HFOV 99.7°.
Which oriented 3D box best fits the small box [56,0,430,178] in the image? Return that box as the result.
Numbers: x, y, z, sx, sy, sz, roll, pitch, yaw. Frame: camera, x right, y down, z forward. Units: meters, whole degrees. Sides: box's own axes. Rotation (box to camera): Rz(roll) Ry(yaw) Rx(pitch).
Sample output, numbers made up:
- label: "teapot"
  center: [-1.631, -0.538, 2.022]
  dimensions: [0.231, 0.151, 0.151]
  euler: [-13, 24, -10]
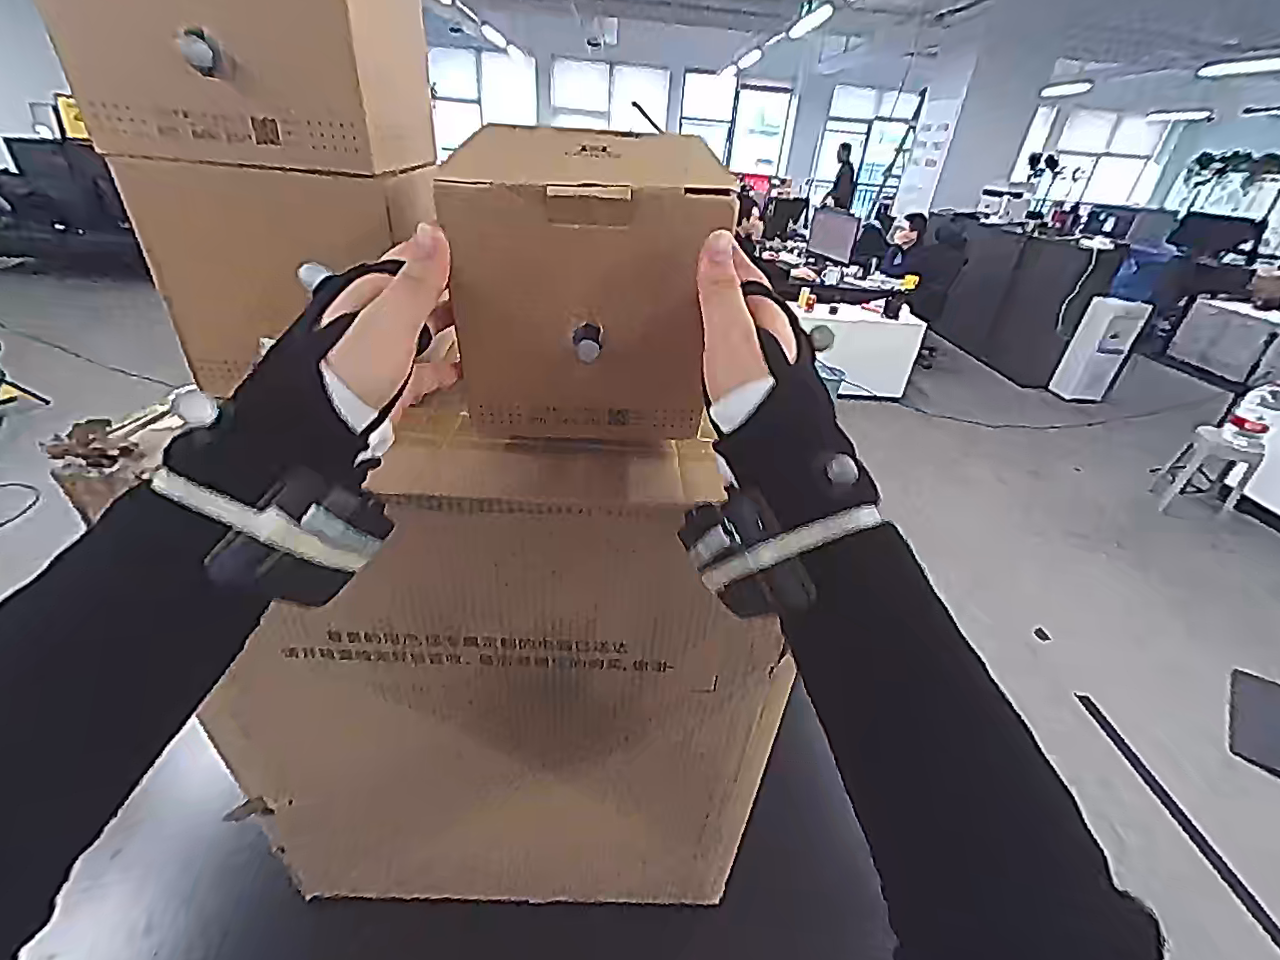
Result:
- label: "small box"
  center: [-0.251, -0.311, 0.366]
  dimensions: [0.168, 0.176, 0.179]
  euler: [1, 33, -6]

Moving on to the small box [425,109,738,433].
- label: "small box"
  center: [-0.035, -0.148, 0.390]
  dimensions: [0.168, 0.176, 0.179]
  euler: [1, 44, -4]

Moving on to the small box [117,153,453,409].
- label: "small box"
  center: [-0.261, -0.174, 0.457]
  dimensions: [0.168, 0.176, 0.179]
  euler: [0, 34, -8]
